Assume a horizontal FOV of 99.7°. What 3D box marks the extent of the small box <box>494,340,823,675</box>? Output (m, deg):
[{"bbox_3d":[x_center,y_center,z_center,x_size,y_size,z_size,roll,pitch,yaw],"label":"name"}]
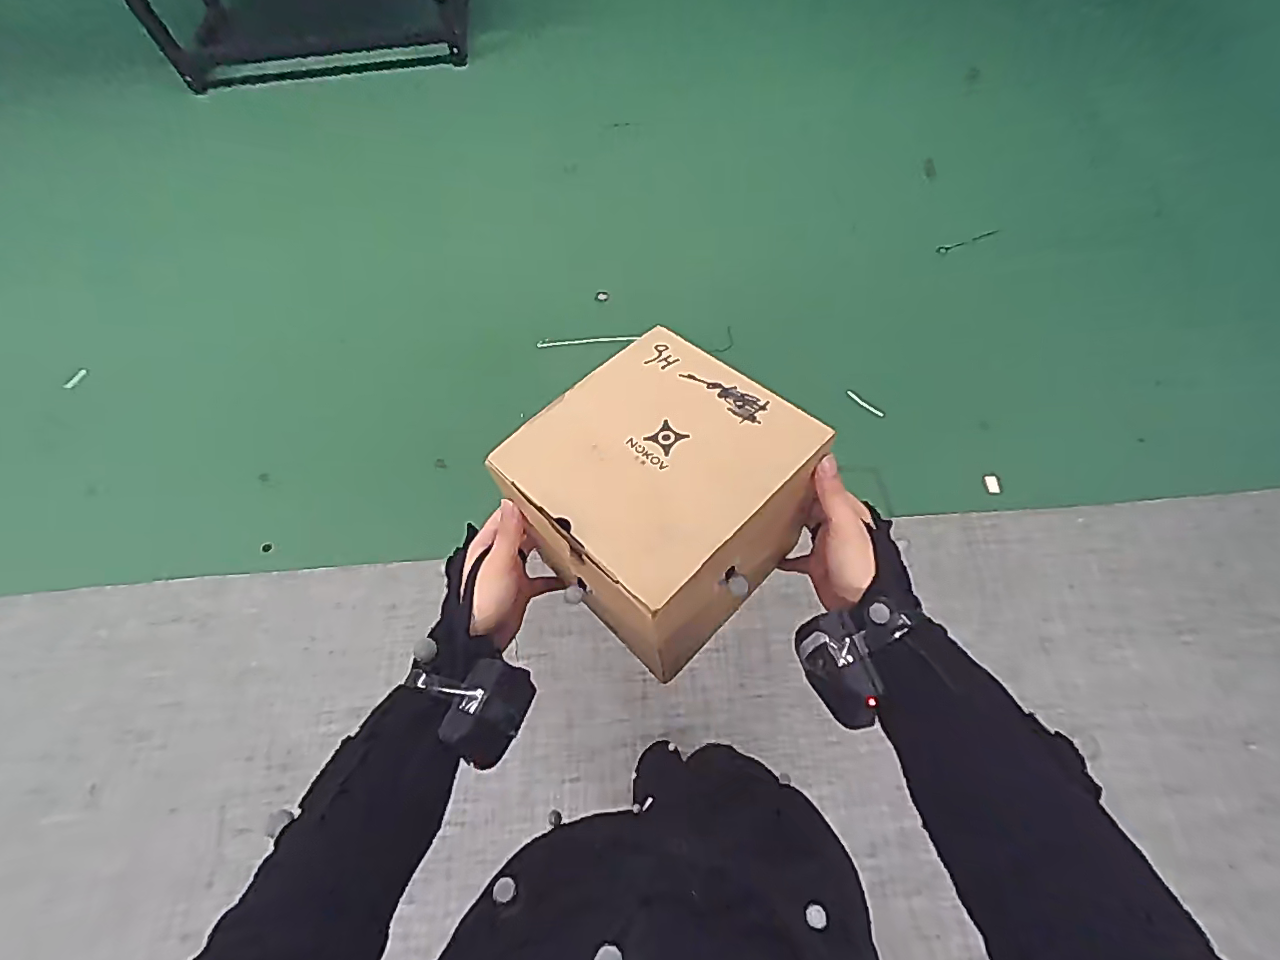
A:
[{"bbox_3d":[0.019,0.028,0.441,0.179,0.176,0.168,-42,62,-19],"label":"small box"}]
